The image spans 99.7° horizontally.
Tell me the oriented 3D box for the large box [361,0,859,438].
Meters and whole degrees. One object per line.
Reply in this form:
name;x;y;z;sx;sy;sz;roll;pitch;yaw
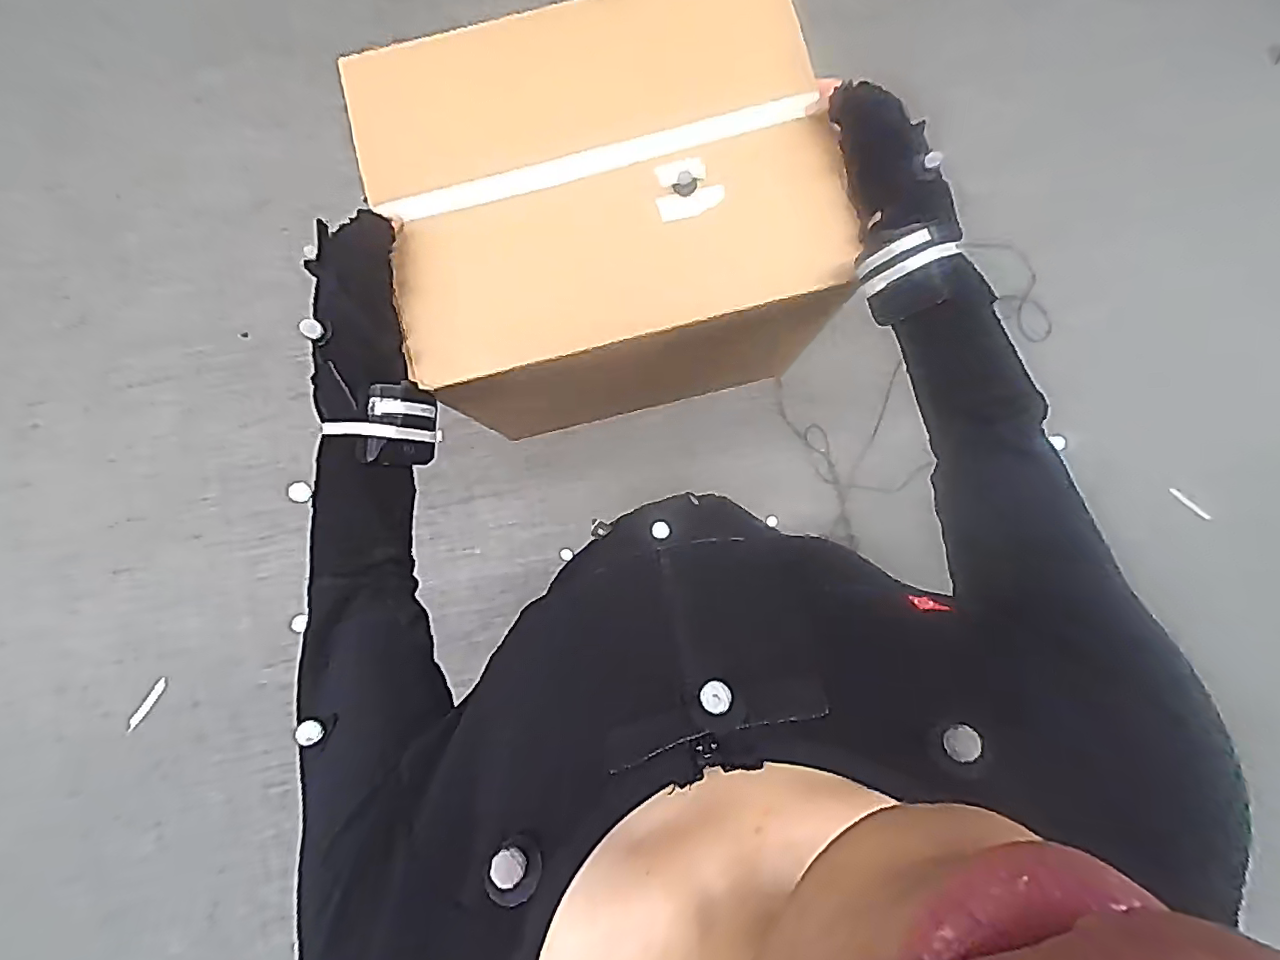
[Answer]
large box;-0.031;-0.267;0.638;0.408;0.320;0.320;-15;85;0
